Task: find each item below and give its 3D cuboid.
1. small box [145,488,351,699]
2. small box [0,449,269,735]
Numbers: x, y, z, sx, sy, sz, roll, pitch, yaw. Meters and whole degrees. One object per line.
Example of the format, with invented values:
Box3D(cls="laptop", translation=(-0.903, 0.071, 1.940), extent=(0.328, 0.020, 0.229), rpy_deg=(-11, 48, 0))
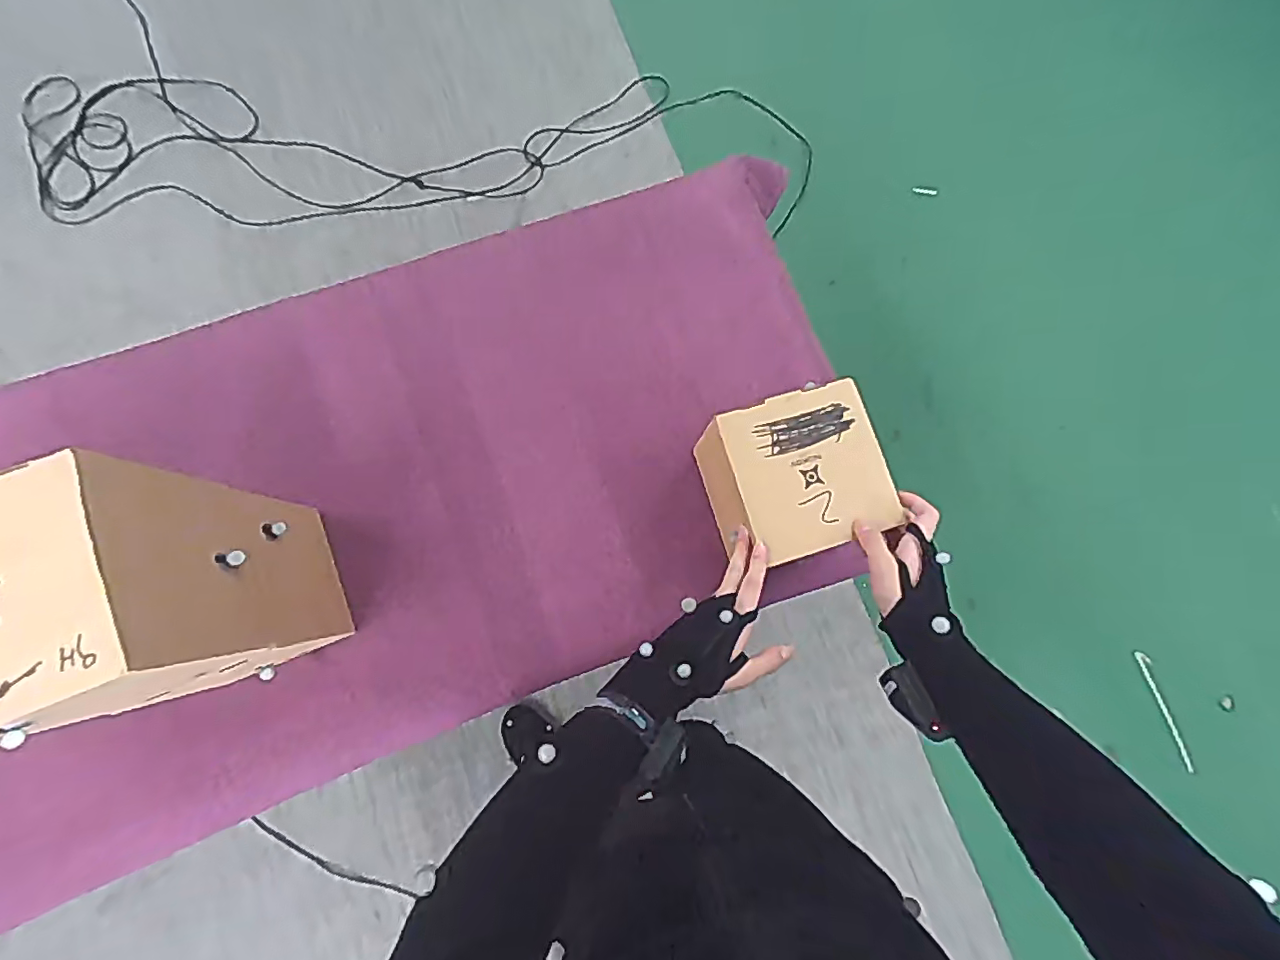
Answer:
Box3D(cls="small box", translation=(-0.467, 0.128, 0.616), extent=(0.168, 0.176, 0.179), rpy_deg=(-21, 82, -6))
Box3D(cls="small box", translation=(-0.461, 0.098, 0.455), extent=(0.168, 0.176, 0.179), rpy_deg=(-21, 81, -6))
